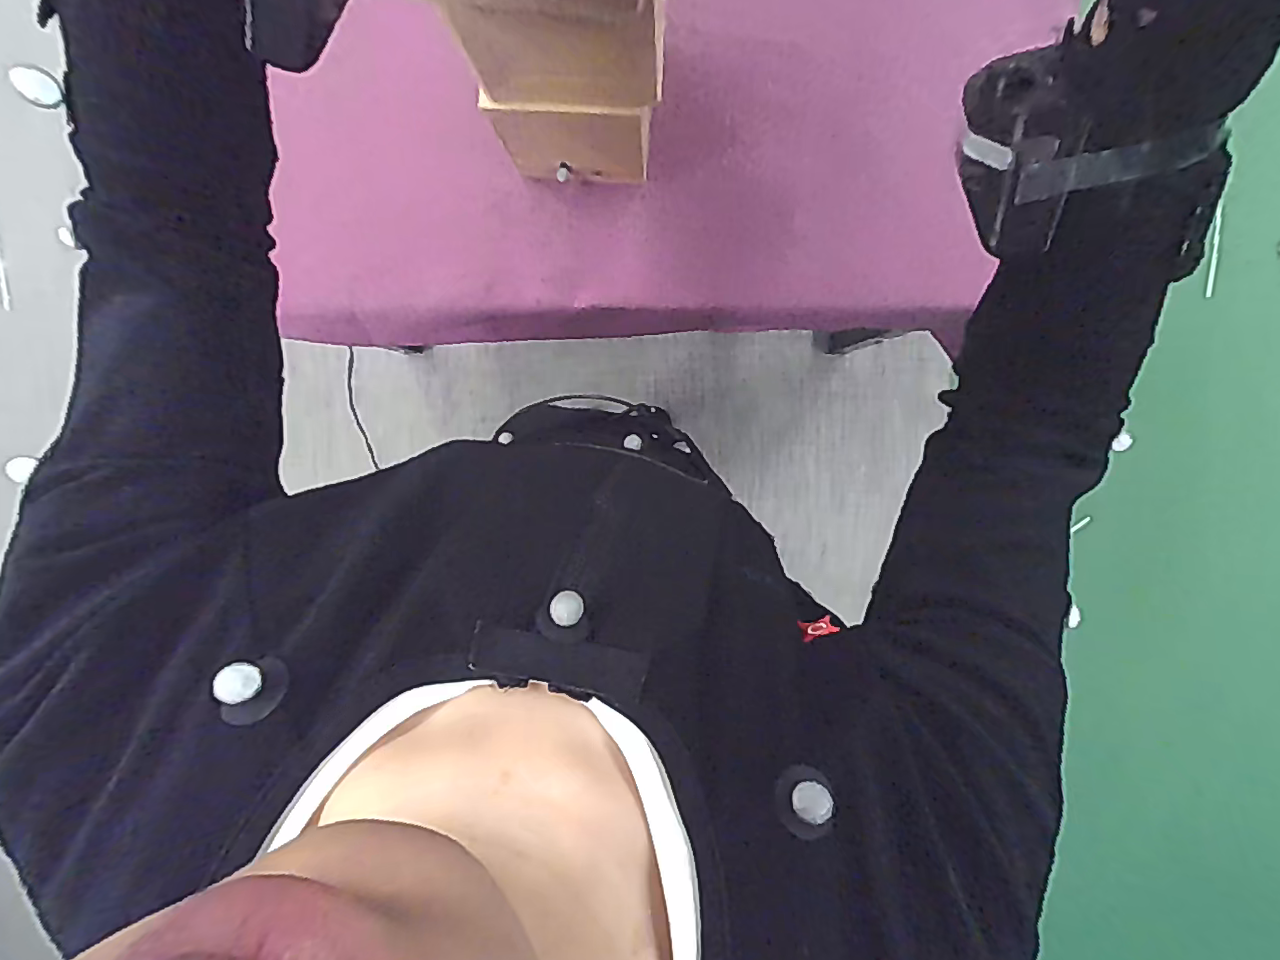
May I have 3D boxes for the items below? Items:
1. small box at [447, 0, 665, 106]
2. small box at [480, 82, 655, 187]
[{"bbox_3d":[-0.067,-0.440,0.443,0.179,0.176,0.168,2,97,1],"label":"small box"},{"bbox_3d":[-0.069,-0.458,0.604,0.168,0.176,0.179,4,98,2],"label":"small box"}]
